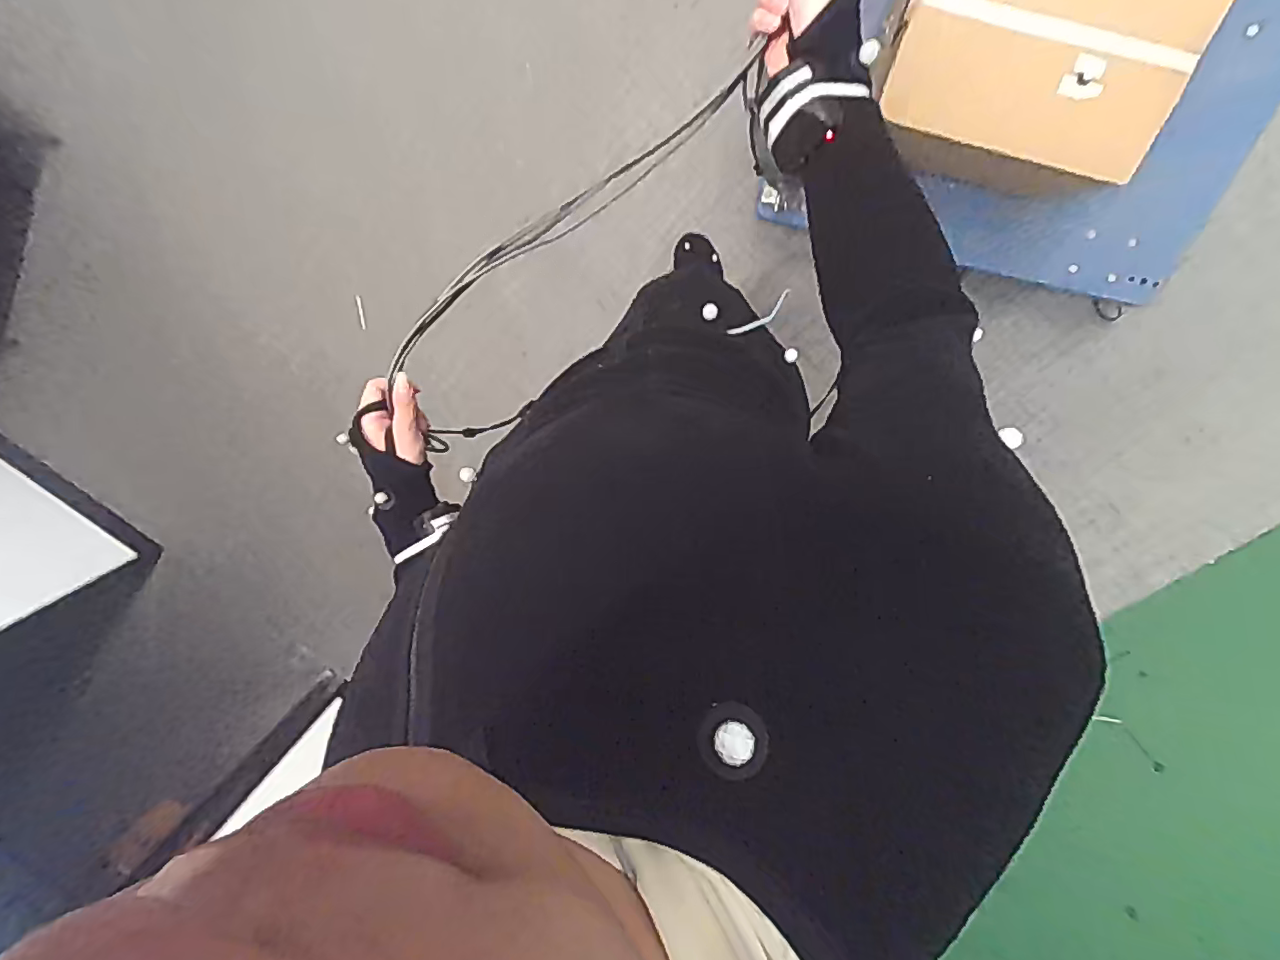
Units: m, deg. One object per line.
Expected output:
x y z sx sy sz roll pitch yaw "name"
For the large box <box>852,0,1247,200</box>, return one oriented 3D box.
0.632 -0.696 0.907 0.408 0.320 0.320 18 116 2 "large box"
